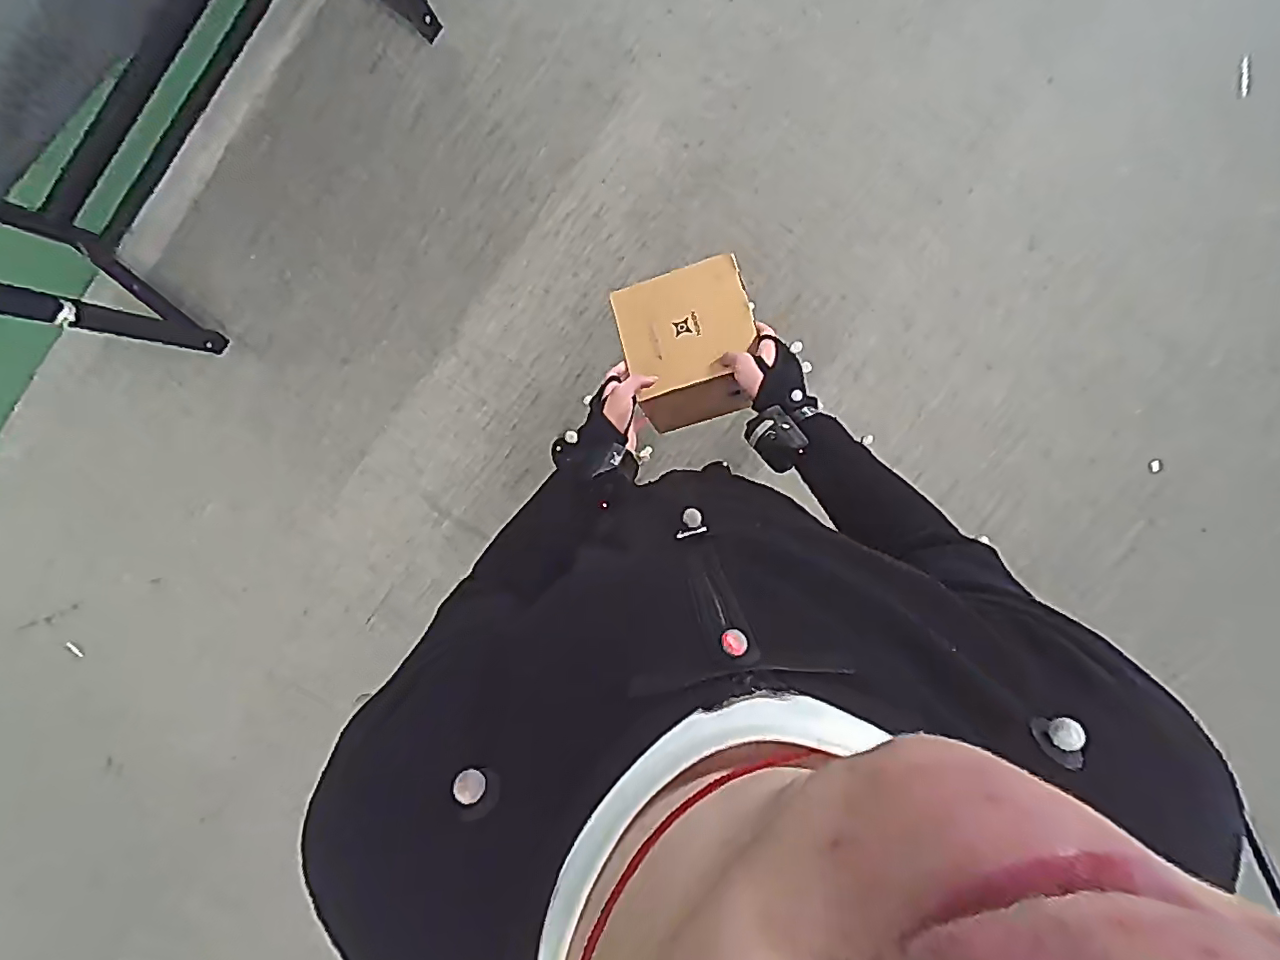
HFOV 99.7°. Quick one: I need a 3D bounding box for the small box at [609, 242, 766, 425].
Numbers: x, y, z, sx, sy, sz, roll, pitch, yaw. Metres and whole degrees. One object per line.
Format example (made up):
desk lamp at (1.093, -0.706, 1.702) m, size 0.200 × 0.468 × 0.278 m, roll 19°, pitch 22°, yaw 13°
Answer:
small box at (0.072, -0.196, 0.769) m, size 0.179 × 0.176 × 0.168 m, roll -15°, pitch 75°, yaw 9°
